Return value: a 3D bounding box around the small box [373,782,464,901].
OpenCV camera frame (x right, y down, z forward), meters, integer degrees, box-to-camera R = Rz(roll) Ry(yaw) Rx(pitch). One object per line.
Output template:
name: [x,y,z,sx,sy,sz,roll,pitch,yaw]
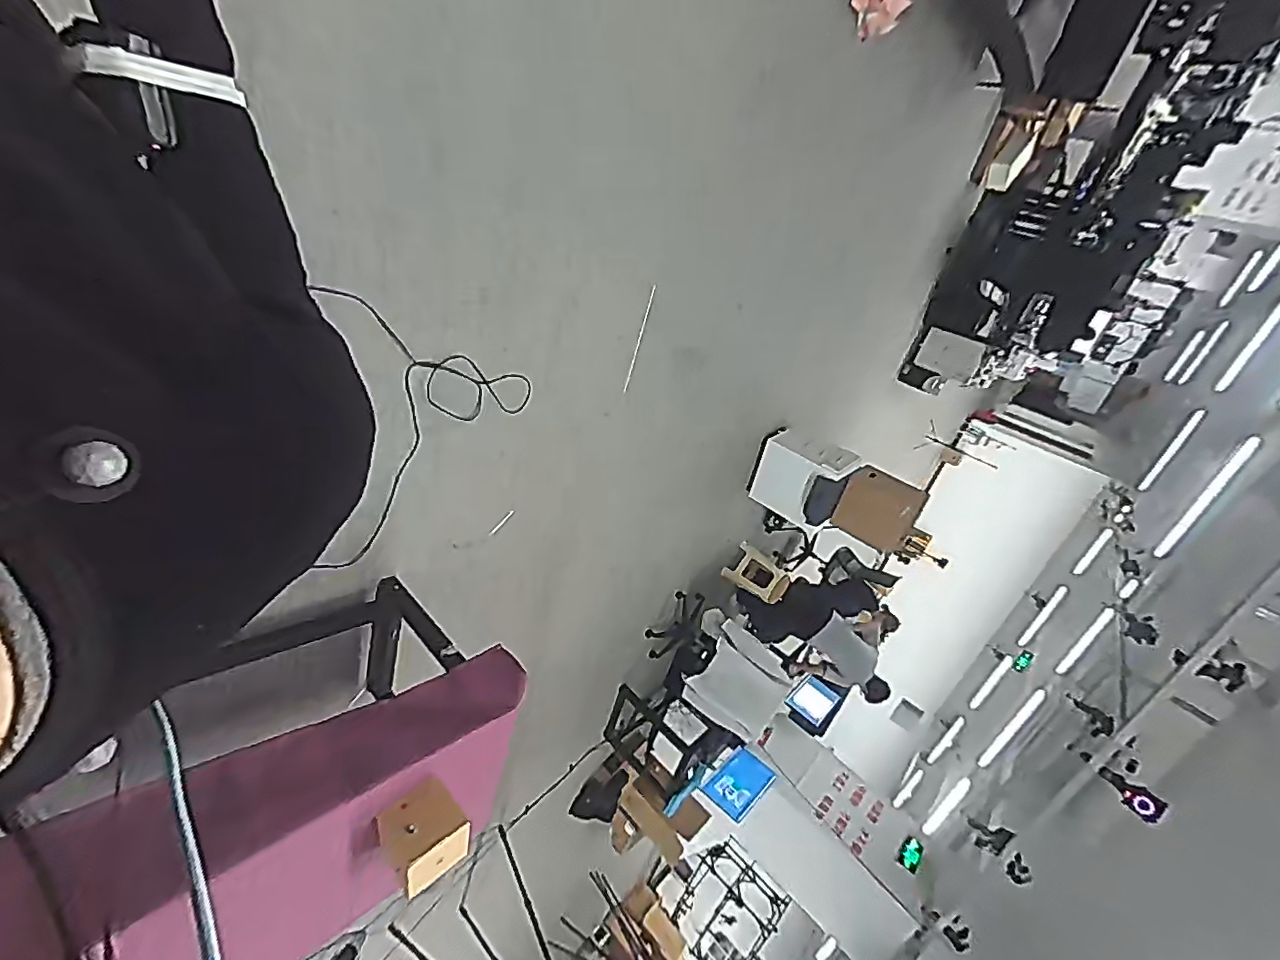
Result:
small box: [-0.584,0.934,1.418,0.168,0.176,0.179,-19,134,-44]
